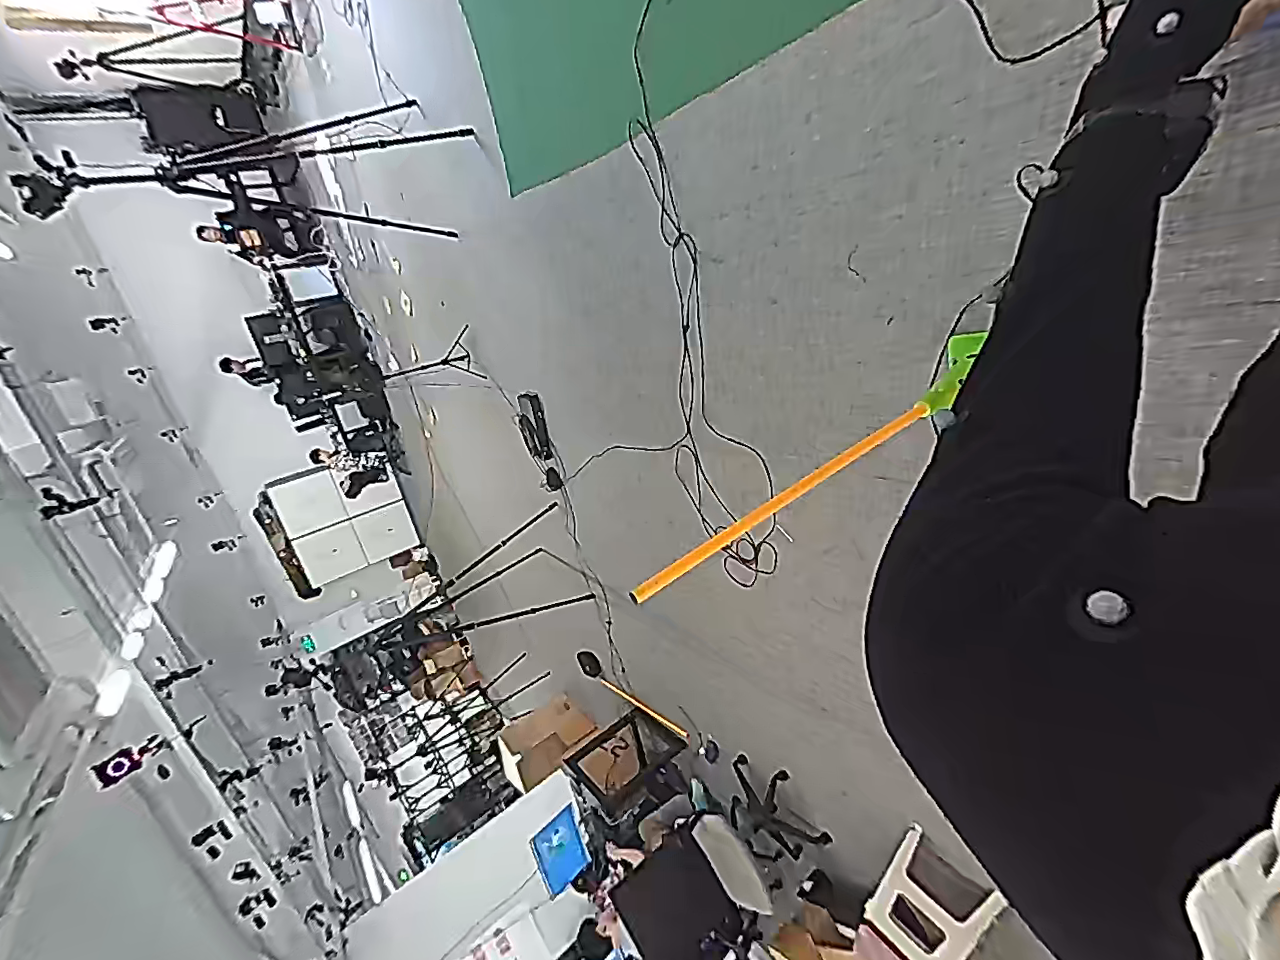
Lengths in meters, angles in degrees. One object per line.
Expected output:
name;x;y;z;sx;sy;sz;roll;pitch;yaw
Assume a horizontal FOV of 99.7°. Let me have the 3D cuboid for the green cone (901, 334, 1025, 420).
green cone;0.785;-0.227;1.370;0.202;0.368;0.200;11;120;55
